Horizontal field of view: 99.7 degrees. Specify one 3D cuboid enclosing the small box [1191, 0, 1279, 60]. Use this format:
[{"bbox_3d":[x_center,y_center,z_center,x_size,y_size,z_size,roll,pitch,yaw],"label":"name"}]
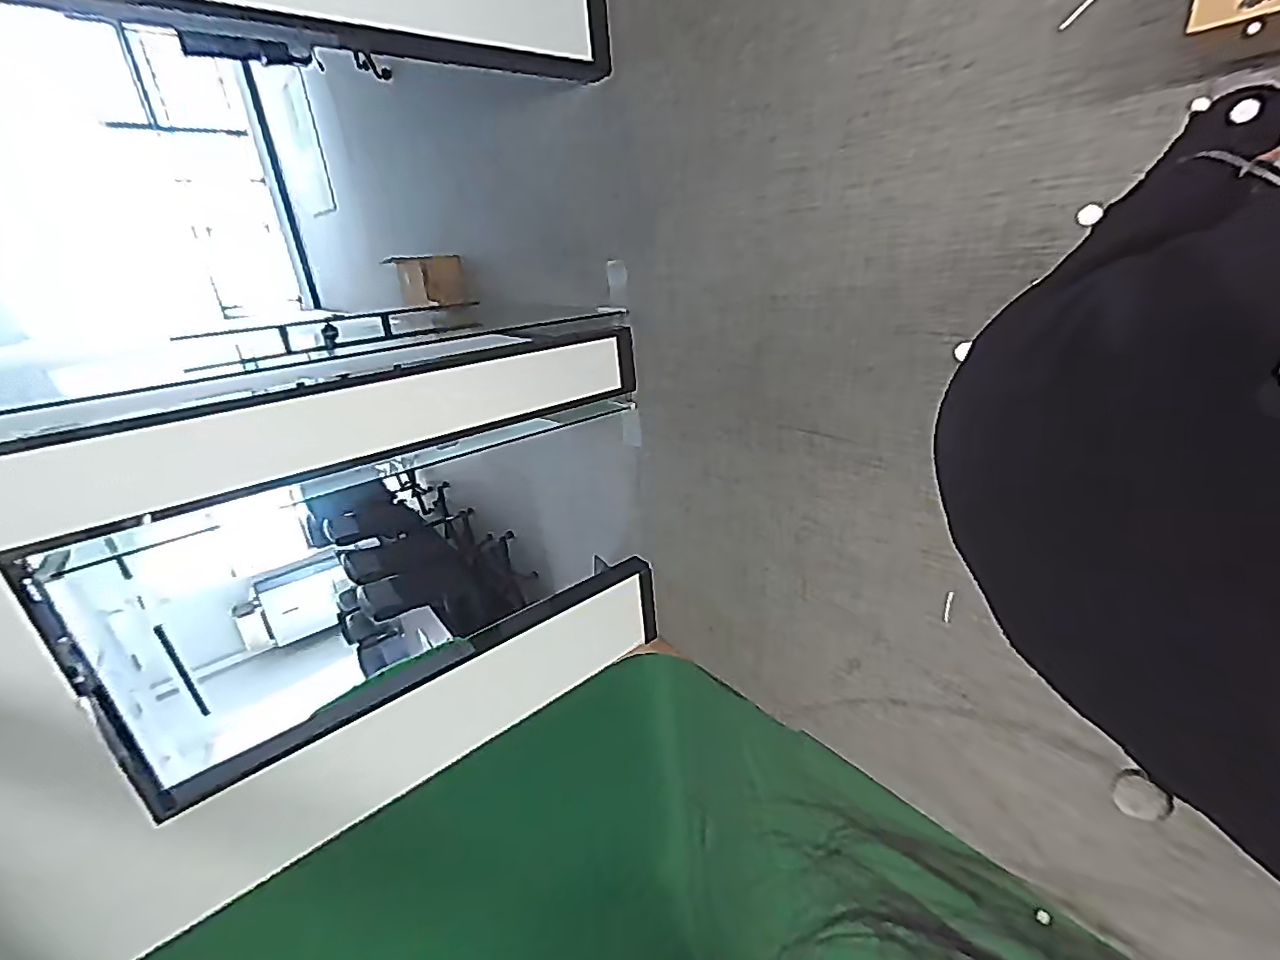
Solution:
[{"bbox_3d":[0.865,-0.685,0.699,0.168,0.176,0.179,23,123,48],"label":"small box"}]
